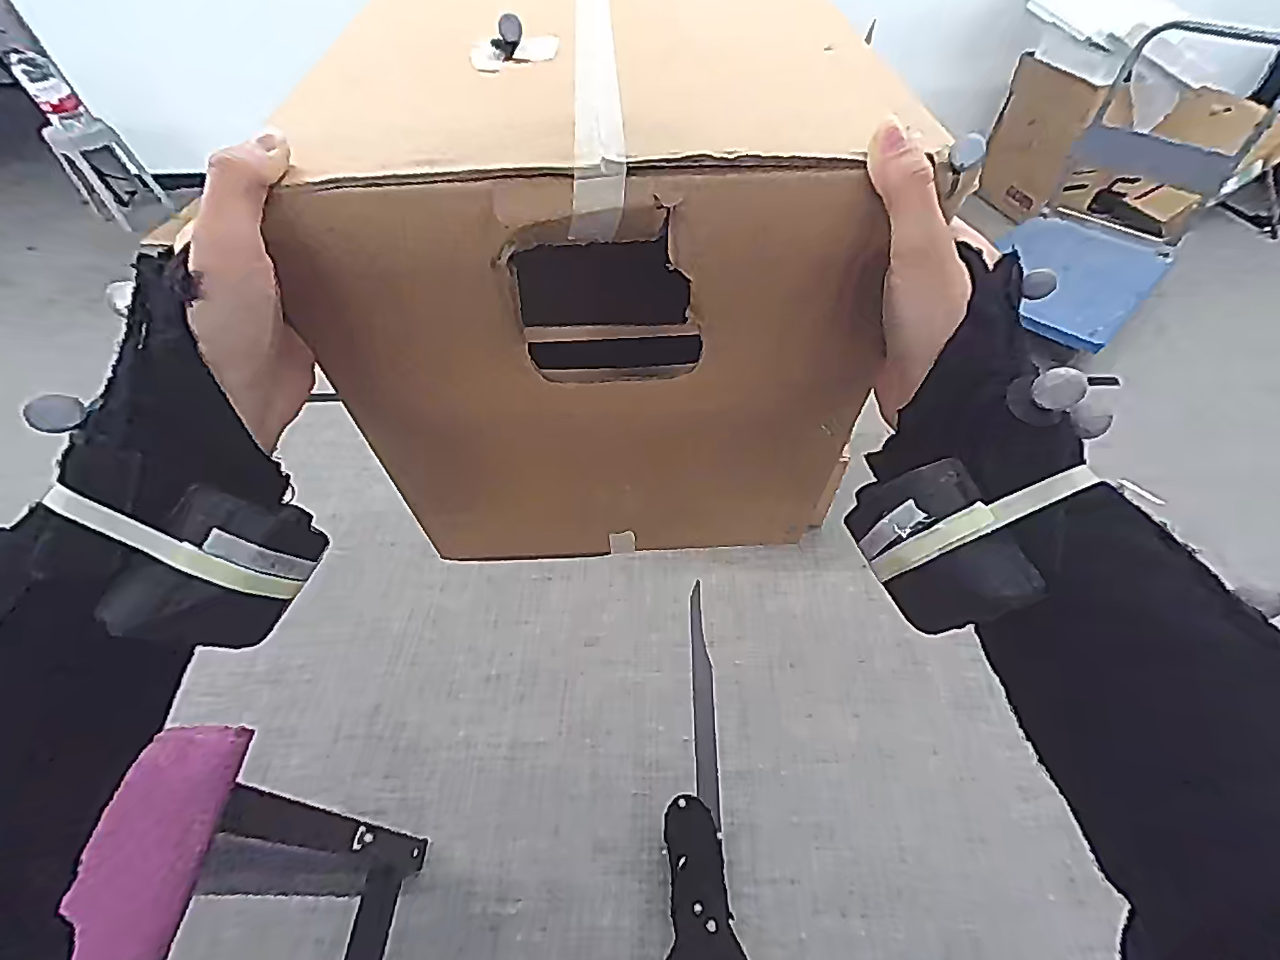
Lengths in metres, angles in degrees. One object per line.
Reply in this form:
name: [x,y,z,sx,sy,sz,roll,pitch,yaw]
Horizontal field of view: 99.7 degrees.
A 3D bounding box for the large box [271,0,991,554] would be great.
large box: [-0.017,-0.191,0.460,0.320,0.320,0.408,-4,54,-1]
